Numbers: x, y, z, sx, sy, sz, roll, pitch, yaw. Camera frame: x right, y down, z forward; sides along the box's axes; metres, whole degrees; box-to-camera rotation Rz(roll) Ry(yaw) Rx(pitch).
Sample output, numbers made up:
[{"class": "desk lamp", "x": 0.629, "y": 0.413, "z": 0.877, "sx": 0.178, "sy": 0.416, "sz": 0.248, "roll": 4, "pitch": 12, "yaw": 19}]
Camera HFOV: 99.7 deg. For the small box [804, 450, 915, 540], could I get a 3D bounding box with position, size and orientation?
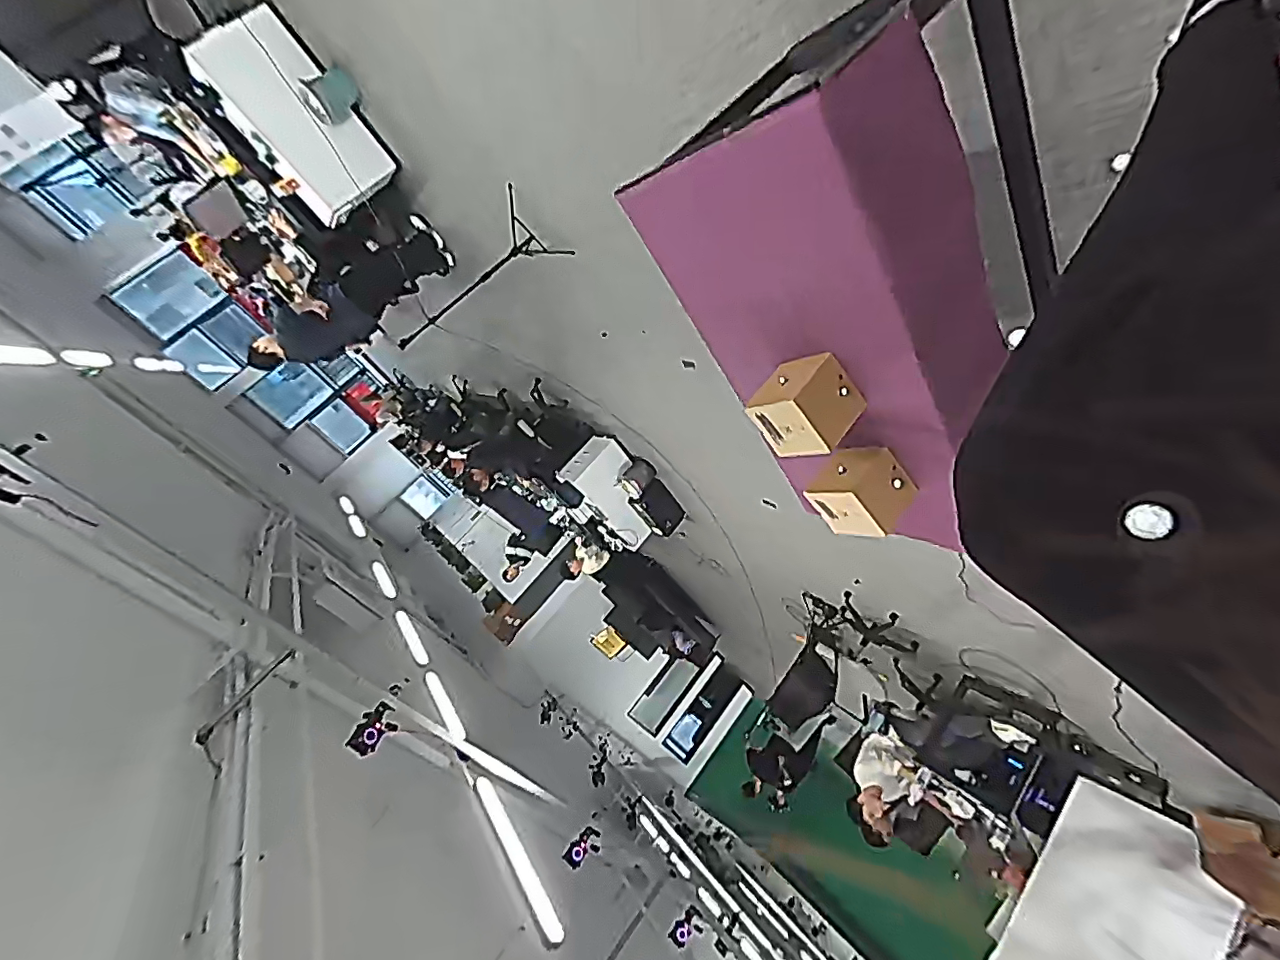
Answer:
[{"class": "small box", "x": 0.579, "y": 0.035, "z": 1.425, "sx": 0.168, "sy": 0.176, "sz": 0.179, "roll": 46, "pitch": 162, "yaw": -17}]
